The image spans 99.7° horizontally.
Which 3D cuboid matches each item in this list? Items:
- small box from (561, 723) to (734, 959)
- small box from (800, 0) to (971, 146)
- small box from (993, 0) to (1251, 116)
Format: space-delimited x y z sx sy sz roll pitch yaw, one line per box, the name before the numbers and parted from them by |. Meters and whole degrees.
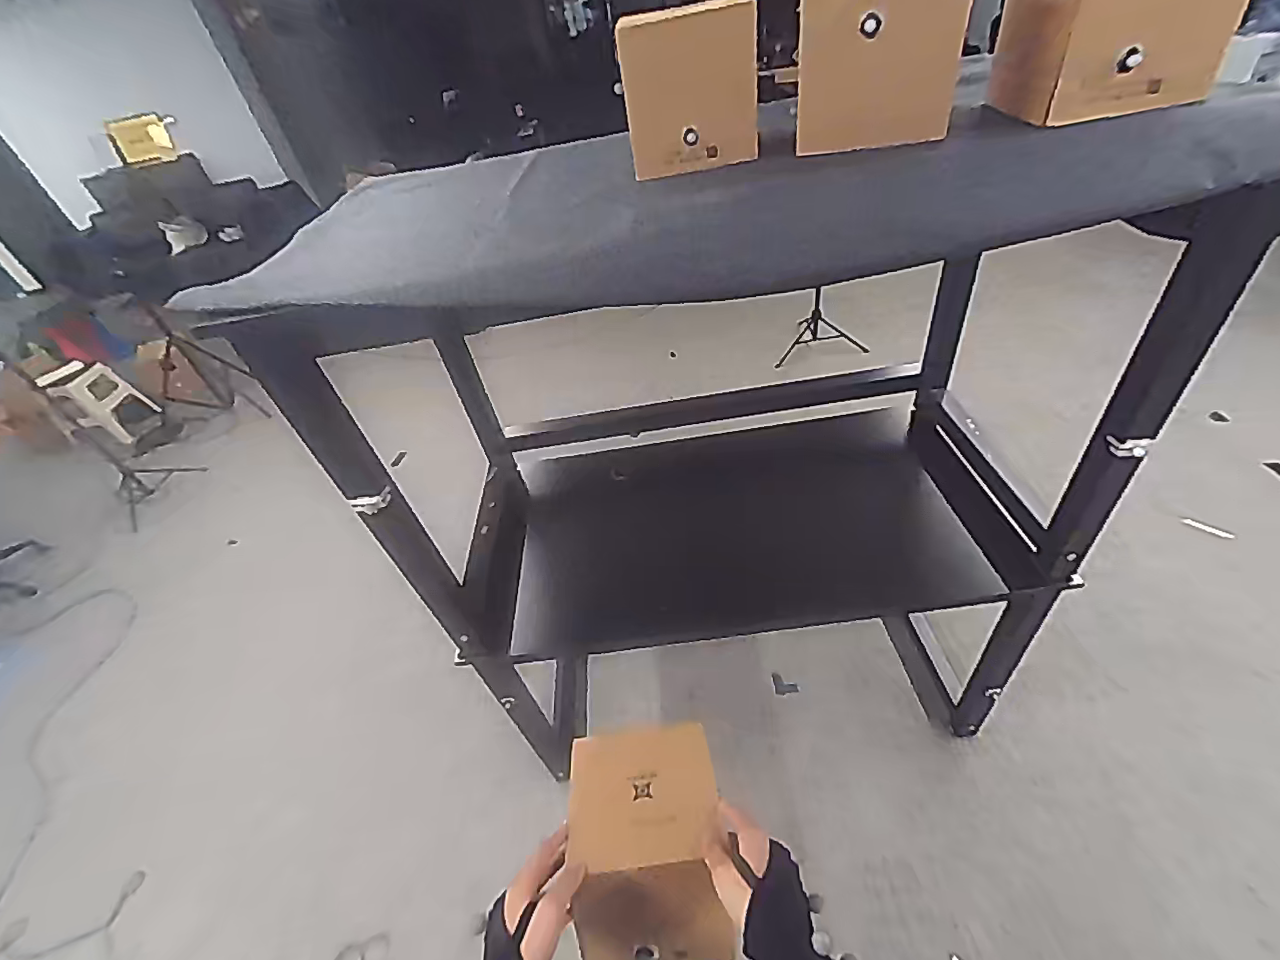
small box | 0.008 0.414 0.617 0.168 0.176 0.179 -7 19 -1
small box | 0.293 -0.531 0.670 0.179 0.176 0.168 3 44 16
small box | 0.537 -0.532 0.613 0.168 0.176 0.179 -5 42 9
